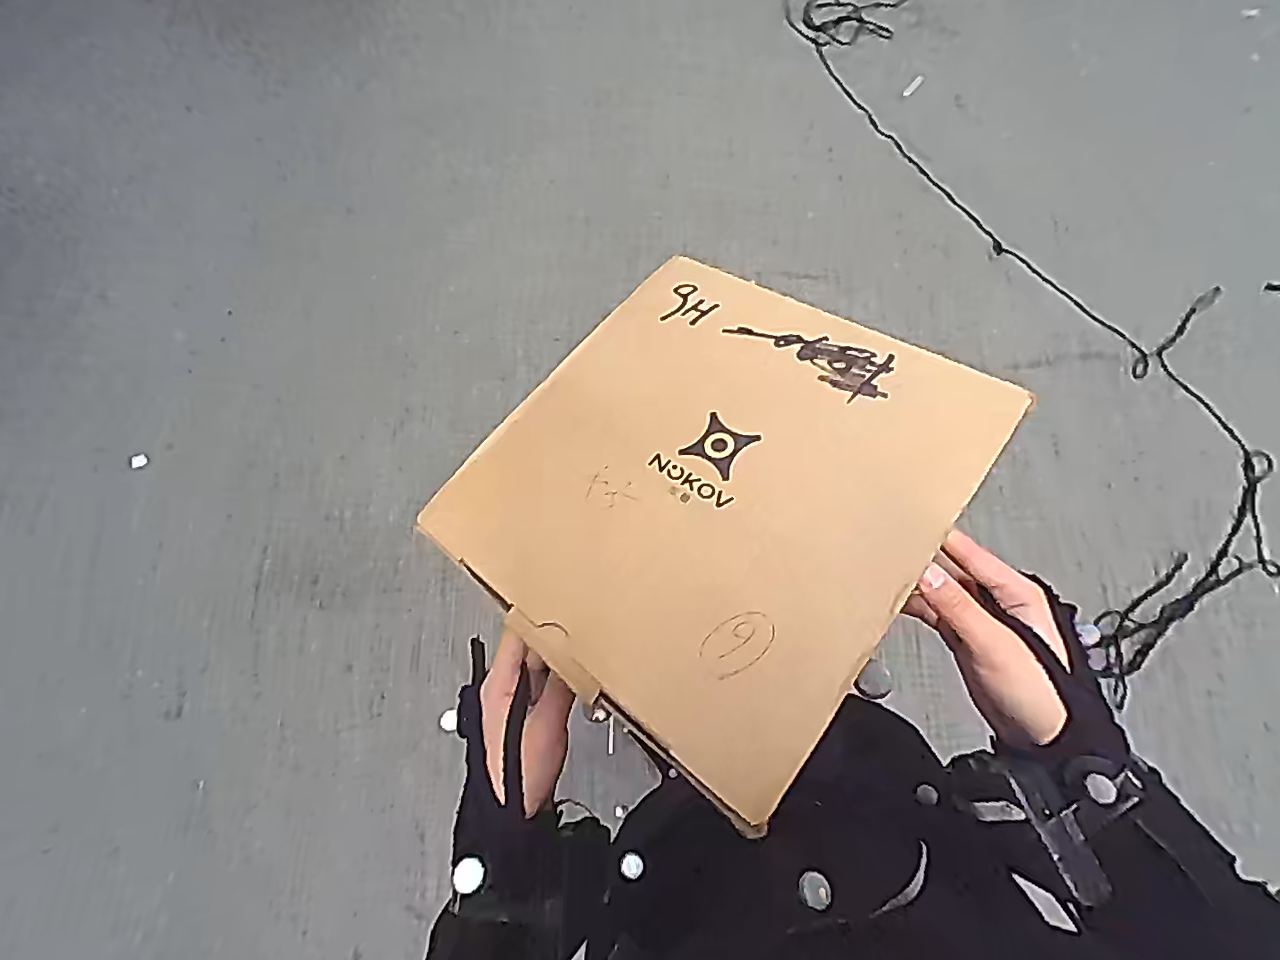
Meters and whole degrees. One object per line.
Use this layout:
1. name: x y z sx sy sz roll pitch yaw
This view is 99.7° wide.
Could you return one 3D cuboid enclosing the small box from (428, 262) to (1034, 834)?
1. small box: 0.043 0.035 0.272 0.168 0.176 0.179 34 74 27
